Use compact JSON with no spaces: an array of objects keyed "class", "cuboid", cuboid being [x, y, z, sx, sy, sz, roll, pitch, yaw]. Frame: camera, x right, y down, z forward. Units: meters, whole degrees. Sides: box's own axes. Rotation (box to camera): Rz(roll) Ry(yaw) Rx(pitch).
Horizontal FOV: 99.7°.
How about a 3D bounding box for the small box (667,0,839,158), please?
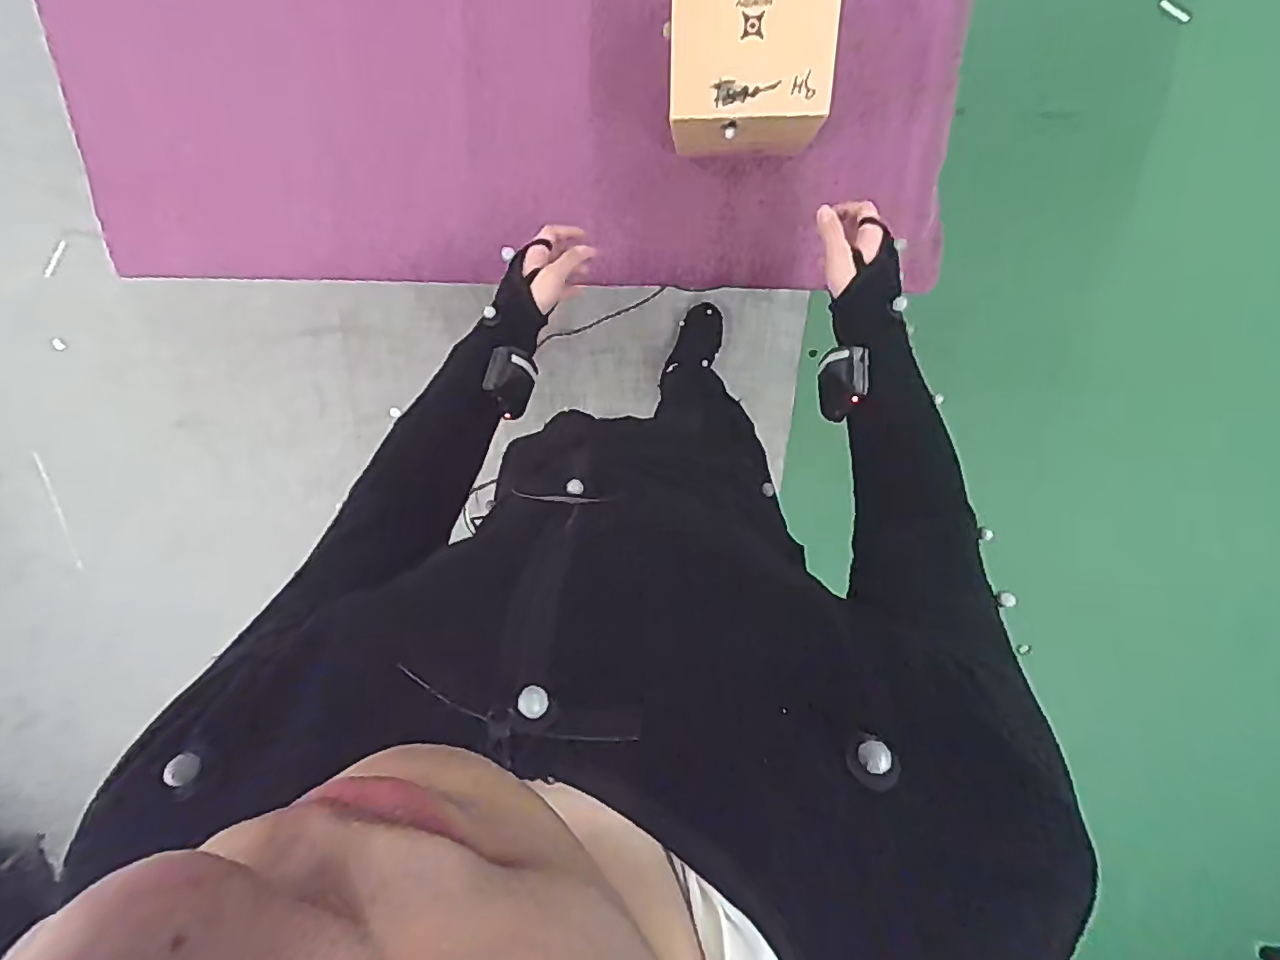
[{"class":"small box","cuboid":[0.119,-0.480,0.604,0.168,0.176,0.179,3,109,6]}]
